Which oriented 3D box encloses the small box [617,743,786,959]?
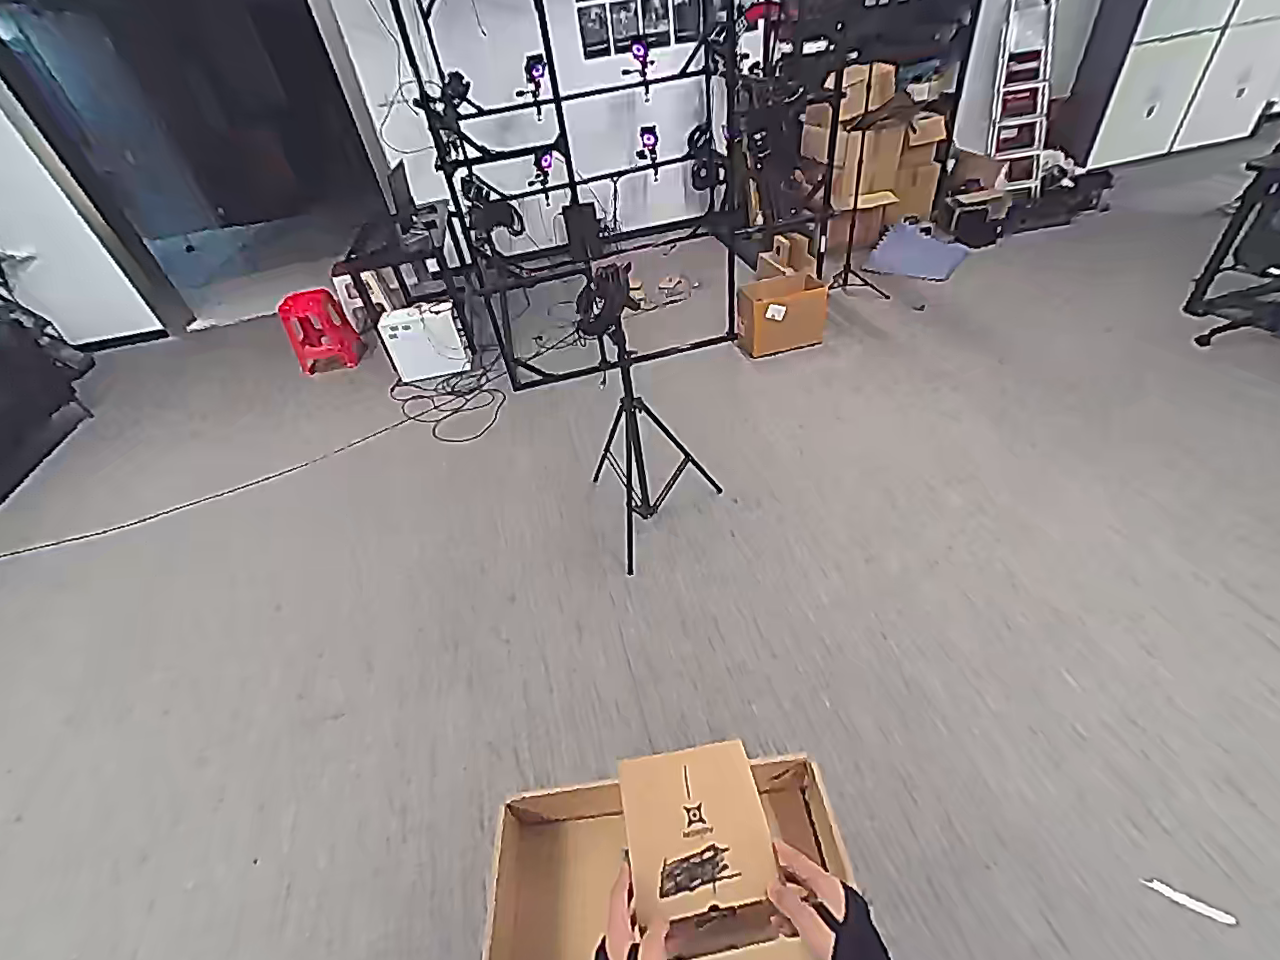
[{"bbox_3d":[0.070,0.468,0.676,0.168,0.176,0.179,-9,37,-5],"label":"small box"}]
